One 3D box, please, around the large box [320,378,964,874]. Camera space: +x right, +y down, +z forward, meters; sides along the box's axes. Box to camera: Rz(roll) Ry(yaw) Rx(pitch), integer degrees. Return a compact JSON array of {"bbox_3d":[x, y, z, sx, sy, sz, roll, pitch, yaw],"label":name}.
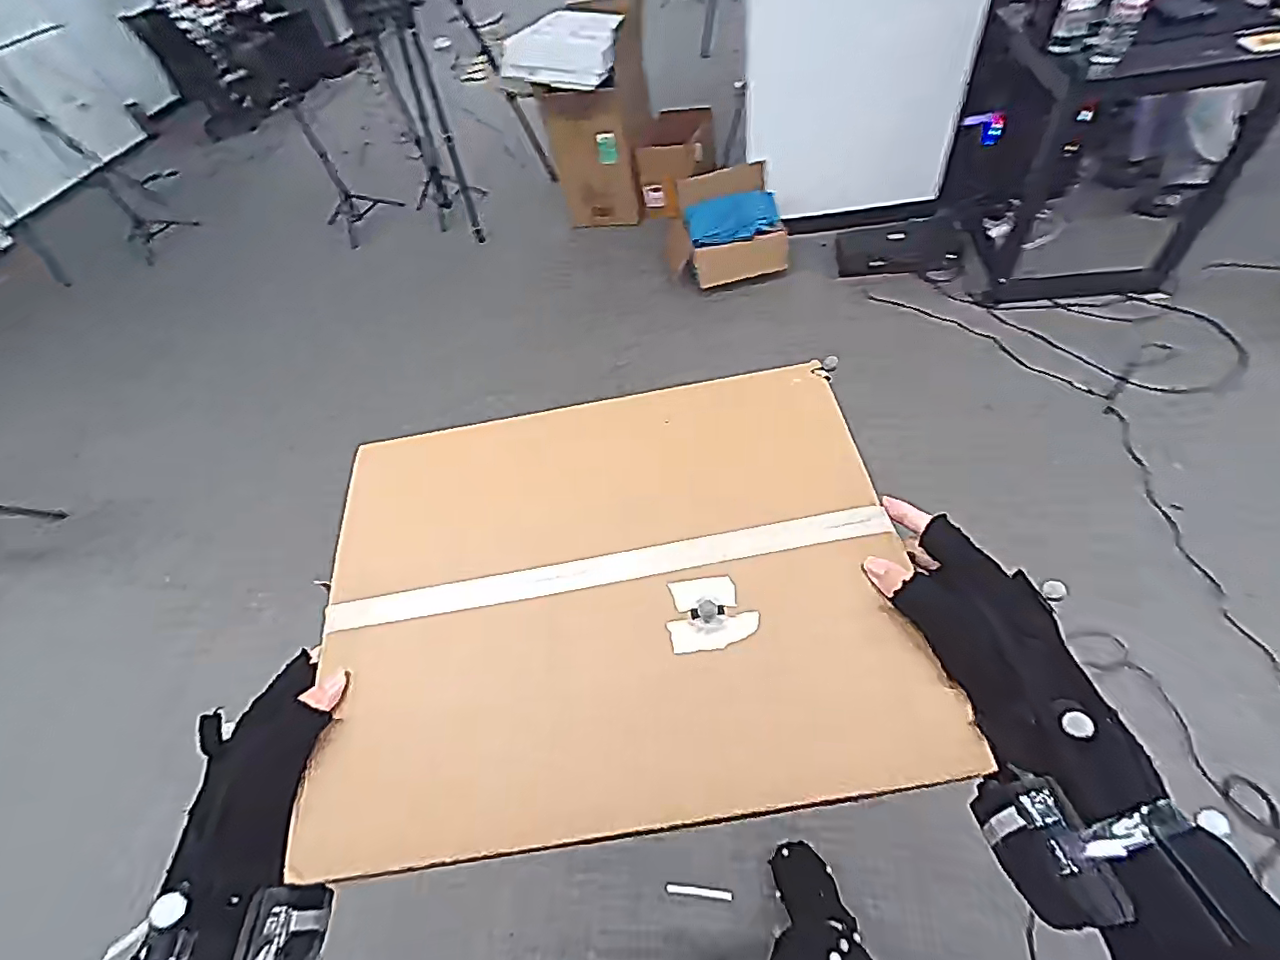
[{"bbox_3d":[-0.006,0.151,0.526,0.408,0.320,0.320,-11,58,1],"label":"large box"}]
